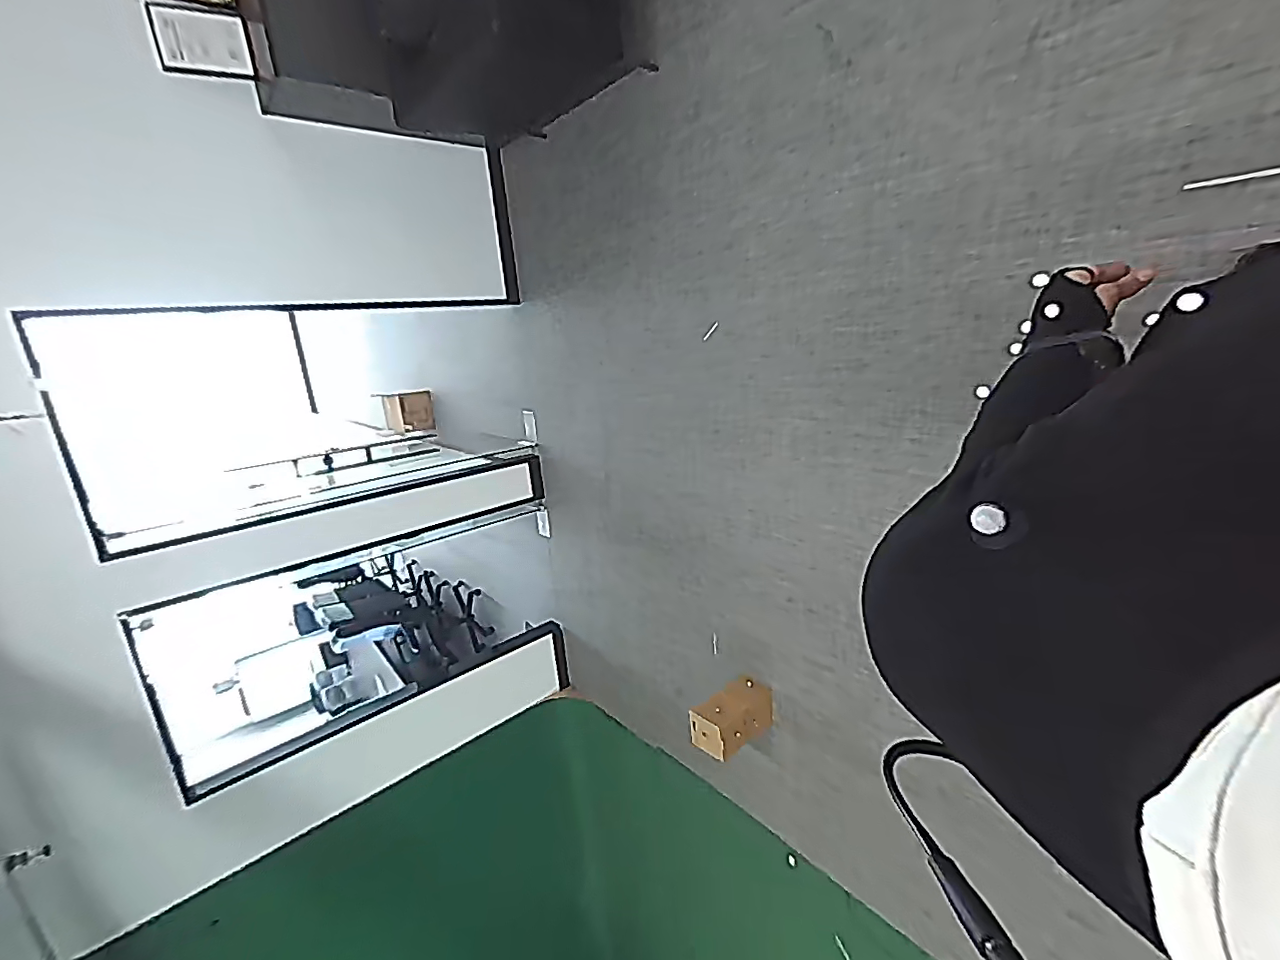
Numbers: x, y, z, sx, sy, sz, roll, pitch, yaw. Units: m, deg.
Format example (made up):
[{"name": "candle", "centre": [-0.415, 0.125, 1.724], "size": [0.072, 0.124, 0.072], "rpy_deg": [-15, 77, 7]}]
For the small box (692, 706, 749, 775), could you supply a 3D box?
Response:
[{"name": "small box", "centre": [0.338, 1.068, 2.234], "size": [0.179, 0.176, 0.168], "rpy_deg": [7, 107, 49]}]

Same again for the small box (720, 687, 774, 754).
[{"name": "small box", "centre": [0.463, 1.031, 2.333], "size": [0.168, 0.176, 0.179], "rpy_deg": [11, 110, 49]}]
